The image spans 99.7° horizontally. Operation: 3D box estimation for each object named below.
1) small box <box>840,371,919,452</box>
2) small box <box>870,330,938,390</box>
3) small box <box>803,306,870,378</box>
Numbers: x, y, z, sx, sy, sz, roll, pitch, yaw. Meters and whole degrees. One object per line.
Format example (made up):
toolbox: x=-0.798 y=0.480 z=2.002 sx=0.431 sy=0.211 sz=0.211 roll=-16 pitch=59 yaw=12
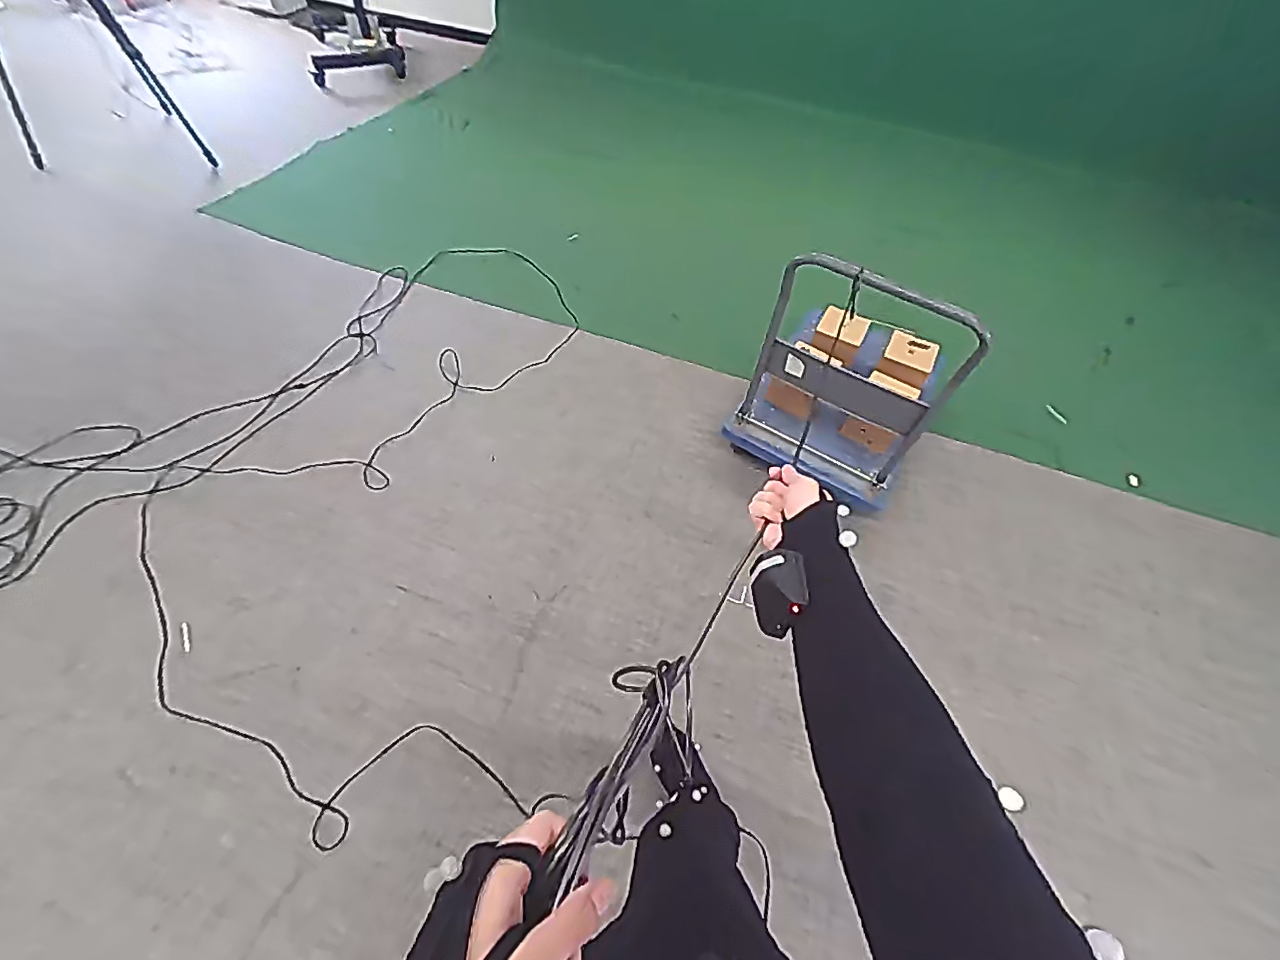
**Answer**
small box: x=0.806 y=-0.231 z=1.833 sx=0.168 sy=0.176 sz=0.179 roll=30 pitch=57 yaw=16
small box: x=0.953 y=-0.409 z=1.974 sx=0.168 sy=0.176 sz=0.179 roll=26 pitch=56 yaw=15
small box: x=0.733 y=-0.516 z=2.034 sx=0.168 sy=0.176 sz=0.179 roll=27 pitch=56 yaw=13
